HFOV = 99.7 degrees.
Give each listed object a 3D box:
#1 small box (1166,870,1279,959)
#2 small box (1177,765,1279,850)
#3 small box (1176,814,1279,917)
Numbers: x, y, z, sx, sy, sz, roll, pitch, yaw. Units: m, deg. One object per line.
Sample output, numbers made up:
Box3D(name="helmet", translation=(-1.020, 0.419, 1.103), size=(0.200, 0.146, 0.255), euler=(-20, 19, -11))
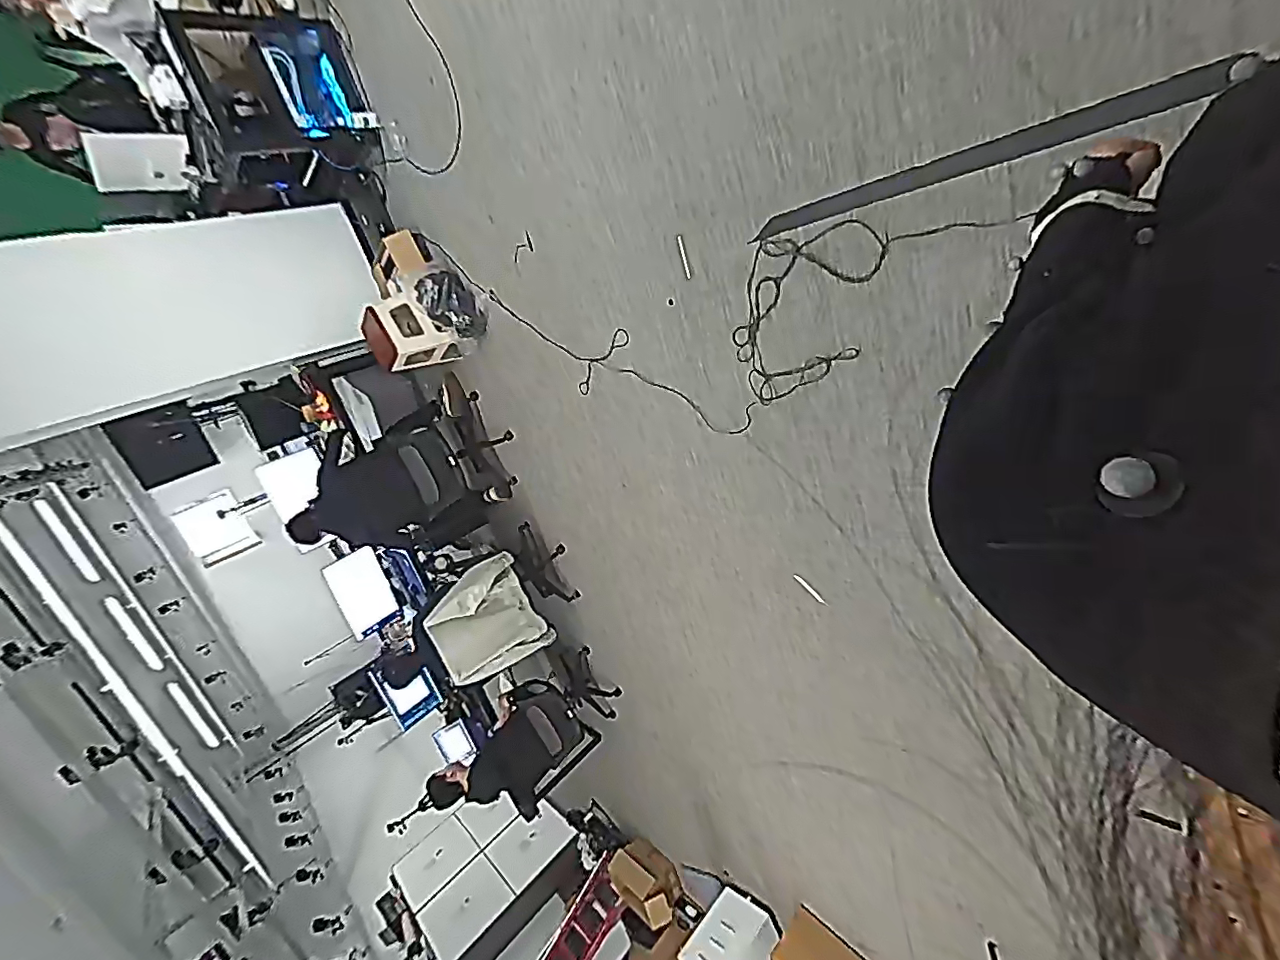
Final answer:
Box3D(name="small box", translation=(1.231, 0.983, 1.139), size=(0.168, 0.176, 0.179), euler=(6, 119, 47))
Box3D(name="small box", translation=(1.457, 0.843, 1.331), size=(0.179, 0.176, 0.168), euler=(4, 118, 48))
Box3D(name="small box", translation=(1.348, 0.911, 1.228), size=(0.179, 0.176, 0.168), euler=(7, 120, 46))
